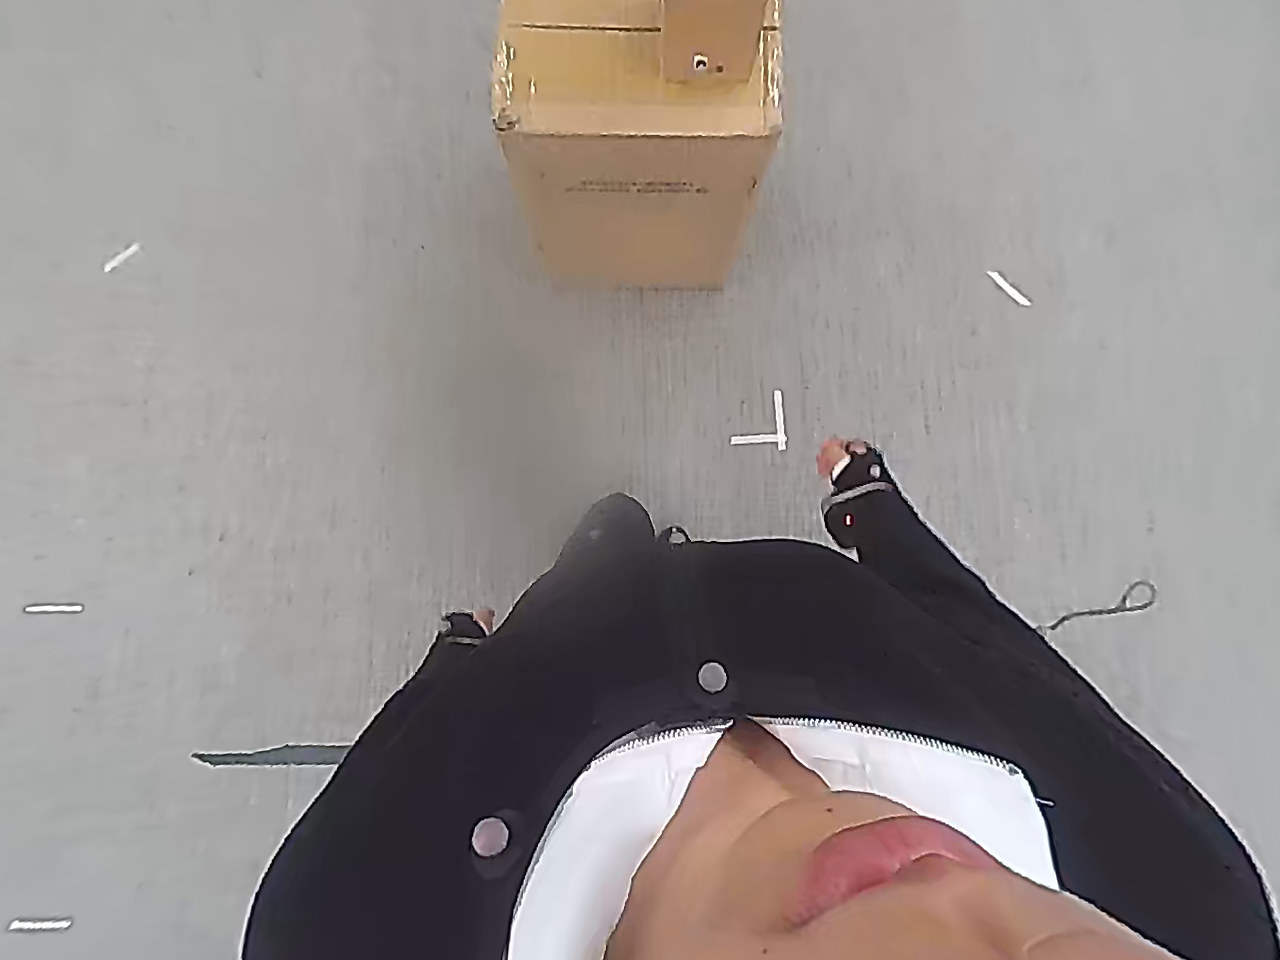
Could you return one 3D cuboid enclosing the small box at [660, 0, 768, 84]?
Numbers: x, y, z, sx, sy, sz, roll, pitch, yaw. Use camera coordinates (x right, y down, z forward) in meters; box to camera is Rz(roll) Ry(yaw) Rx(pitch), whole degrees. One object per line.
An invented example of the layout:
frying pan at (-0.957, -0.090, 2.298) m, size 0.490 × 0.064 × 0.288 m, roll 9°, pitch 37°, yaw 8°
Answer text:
small box at (0.118, -0.815, 0.911) m, size 0.168 × 0.176 × 0.179 m, roll 0°, pitch 86°, yaw 2°
